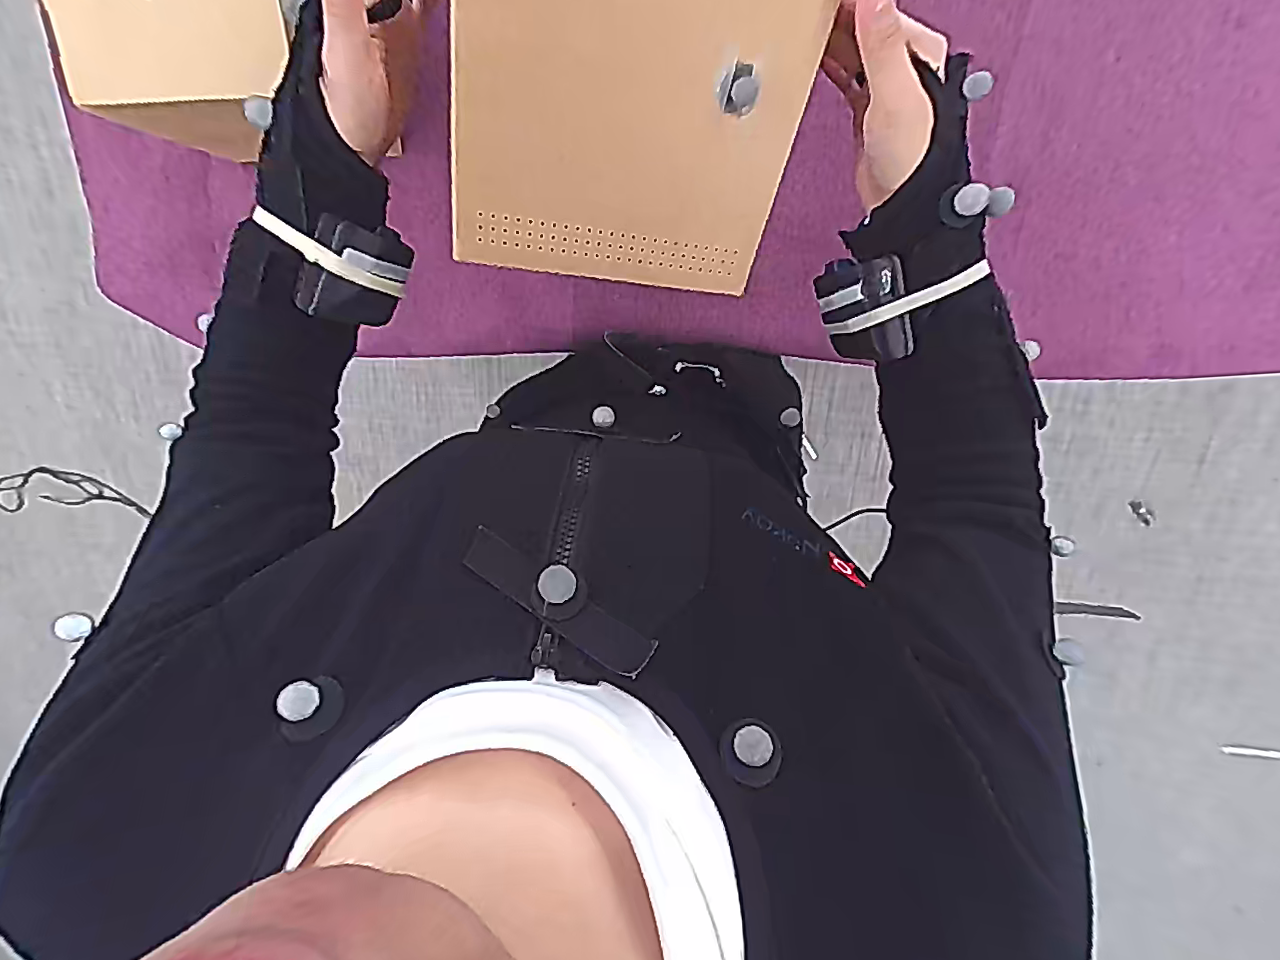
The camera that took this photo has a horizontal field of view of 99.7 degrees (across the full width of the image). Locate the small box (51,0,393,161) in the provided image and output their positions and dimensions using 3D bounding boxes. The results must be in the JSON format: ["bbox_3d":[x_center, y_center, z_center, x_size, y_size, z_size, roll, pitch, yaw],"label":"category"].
[{"bbox_3d":[-0.328,-0.380,0.451,0.179,0.176,0.168,0,107,3],"label":"small box"}]
